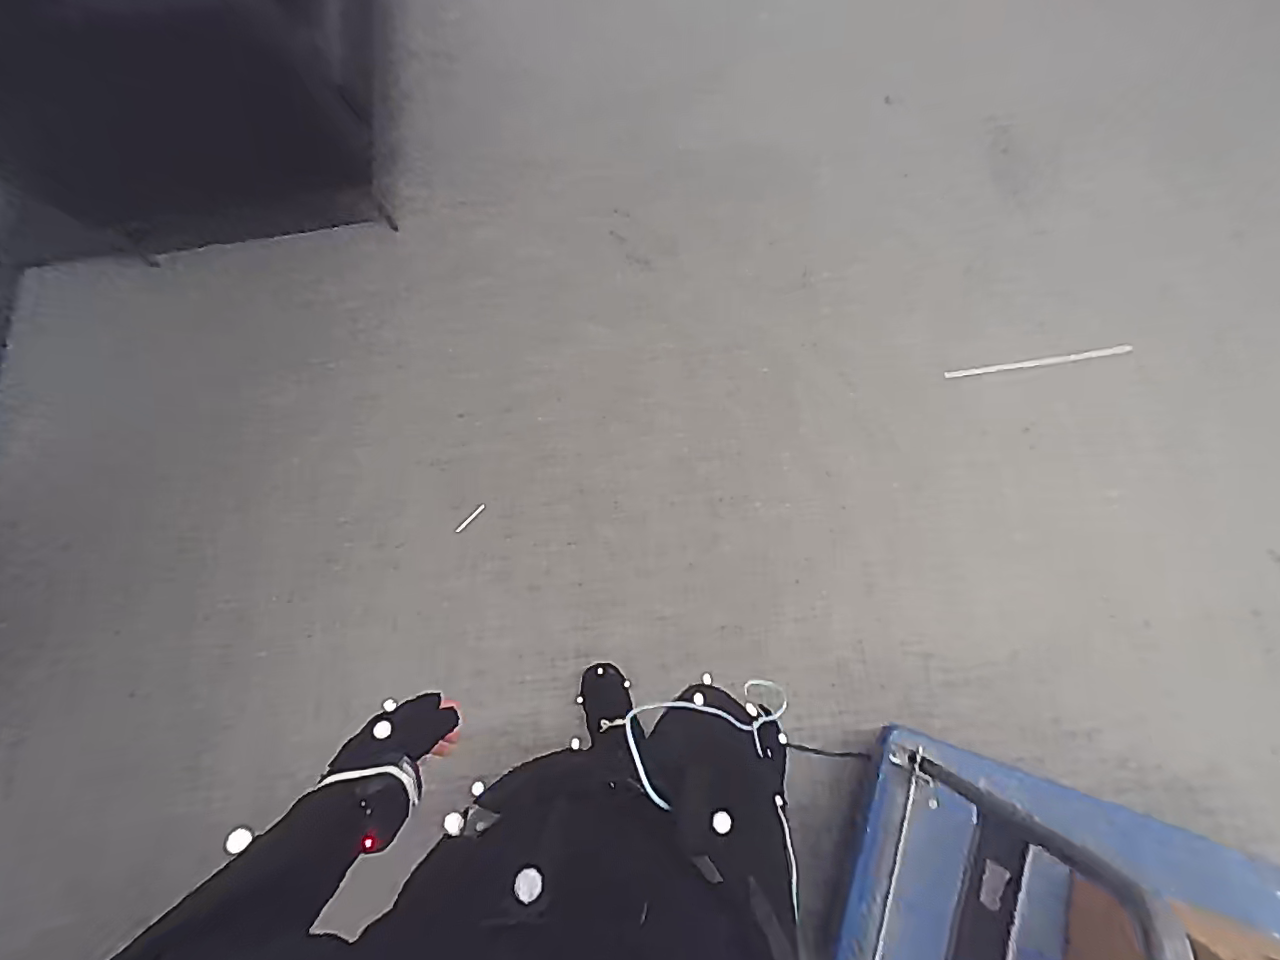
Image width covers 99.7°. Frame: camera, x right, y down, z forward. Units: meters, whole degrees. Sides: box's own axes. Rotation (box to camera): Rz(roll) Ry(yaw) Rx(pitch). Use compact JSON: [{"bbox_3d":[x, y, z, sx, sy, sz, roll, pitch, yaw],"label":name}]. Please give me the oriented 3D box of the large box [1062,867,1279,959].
[{"bbox_3d":[0.859,0.878,0.771,0.320,0.320,0.408,14,75,8],"label":"large box"}]
